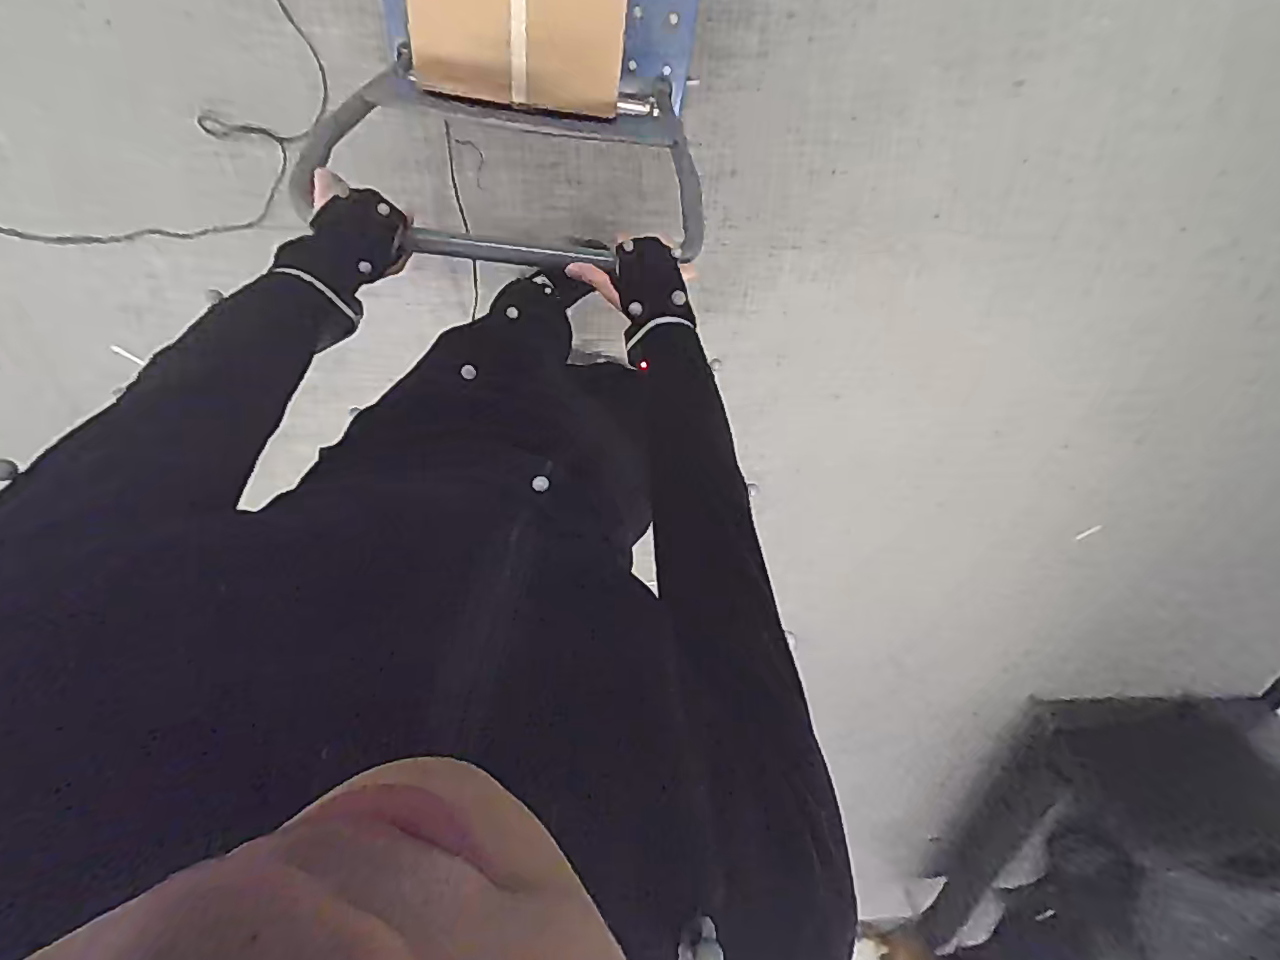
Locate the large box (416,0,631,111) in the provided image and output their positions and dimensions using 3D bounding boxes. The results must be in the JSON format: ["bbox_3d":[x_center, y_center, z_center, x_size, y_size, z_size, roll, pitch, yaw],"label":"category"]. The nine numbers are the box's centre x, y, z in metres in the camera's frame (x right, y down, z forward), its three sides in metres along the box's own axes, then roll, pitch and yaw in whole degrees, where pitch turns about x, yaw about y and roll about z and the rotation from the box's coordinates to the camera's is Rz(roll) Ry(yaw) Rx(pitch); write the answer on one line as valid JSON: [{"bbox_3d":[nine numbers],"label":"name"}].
[{"bbox_3d":[-0.167,-0.857,0.848,0.320,0.320,0.408,4,132,-8],"label":"large box"}]
